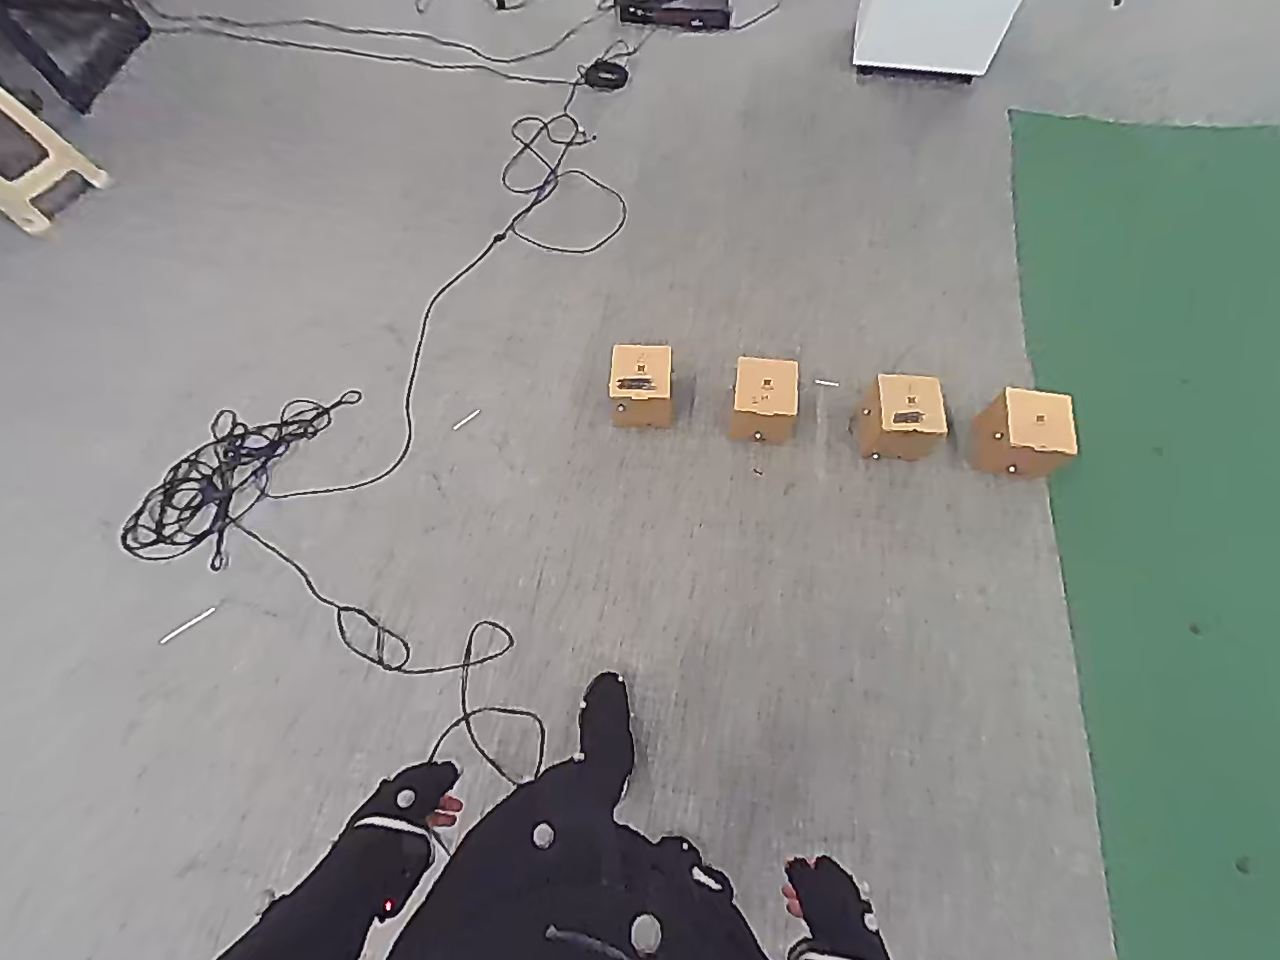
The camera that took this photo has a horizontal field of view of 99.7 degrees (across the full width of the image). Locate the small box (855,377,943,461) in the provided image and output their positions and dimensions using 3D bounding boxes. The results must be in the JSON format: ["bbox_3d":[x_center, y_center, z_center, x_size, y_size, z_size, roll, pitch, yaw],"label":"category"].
[{"bbox_3d":[0.713,-0.165,1.507,0.168,0.176,0.179,5,66,3],"label":"small box"}]

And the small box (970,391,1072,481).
[{"bbox_3d":[1.032,-0.117,1.482,0.168,0.176,0.179,9,67,6],"label":"small box"}]

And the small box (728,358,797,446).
[{"bbox_3d":[0.344,-0.219,1.536,0.168,0.176,0.179,6,68,5],"label":"small box"}]
